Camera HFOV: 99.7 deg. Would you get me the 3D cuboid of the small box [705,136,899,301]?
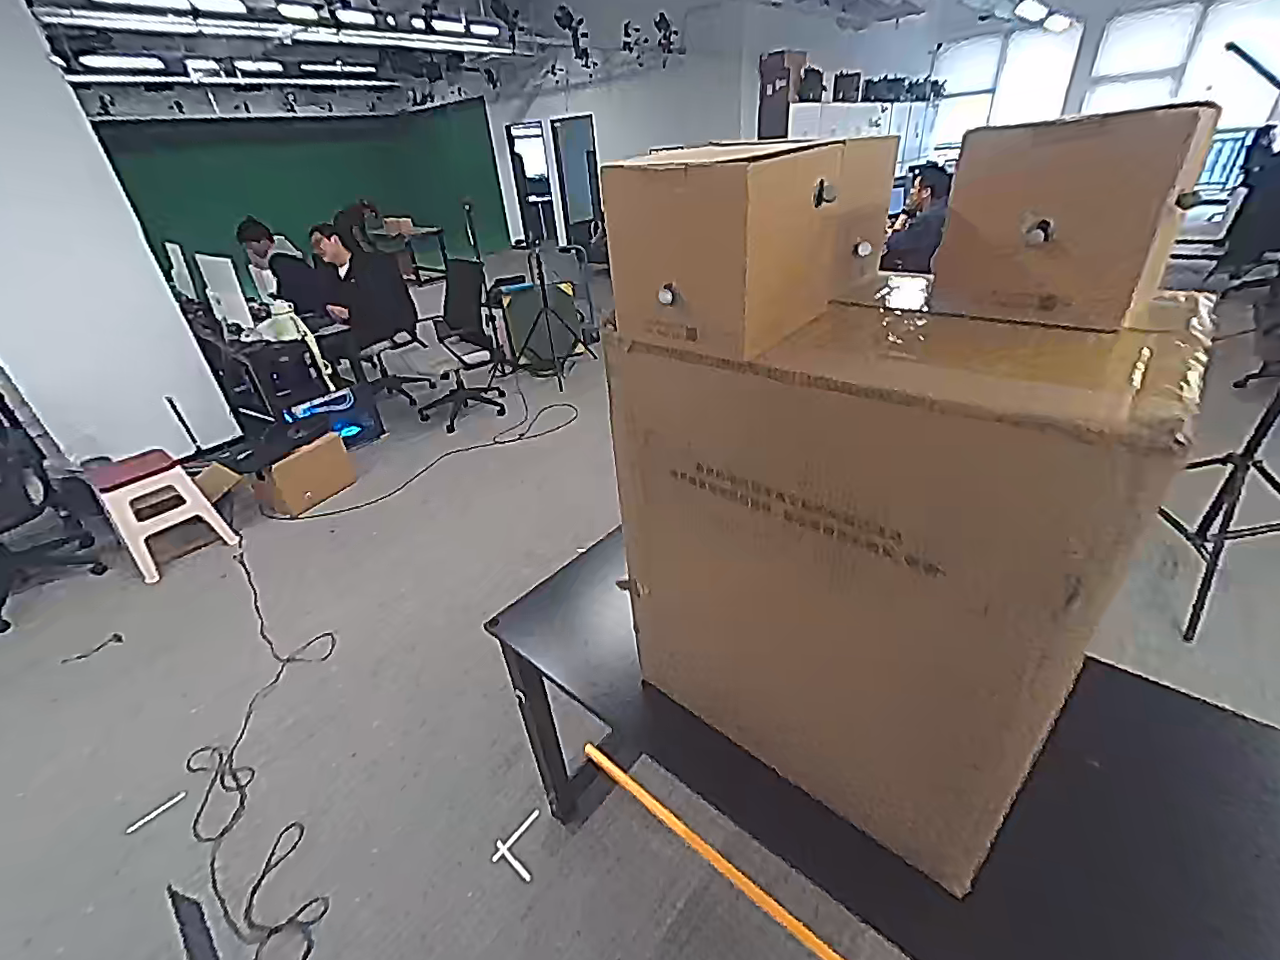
[{"bbox_3d":[0.198,-0.333,0.688,0.179,0.176,0.168,23,40,36],"label":"small box"}]
